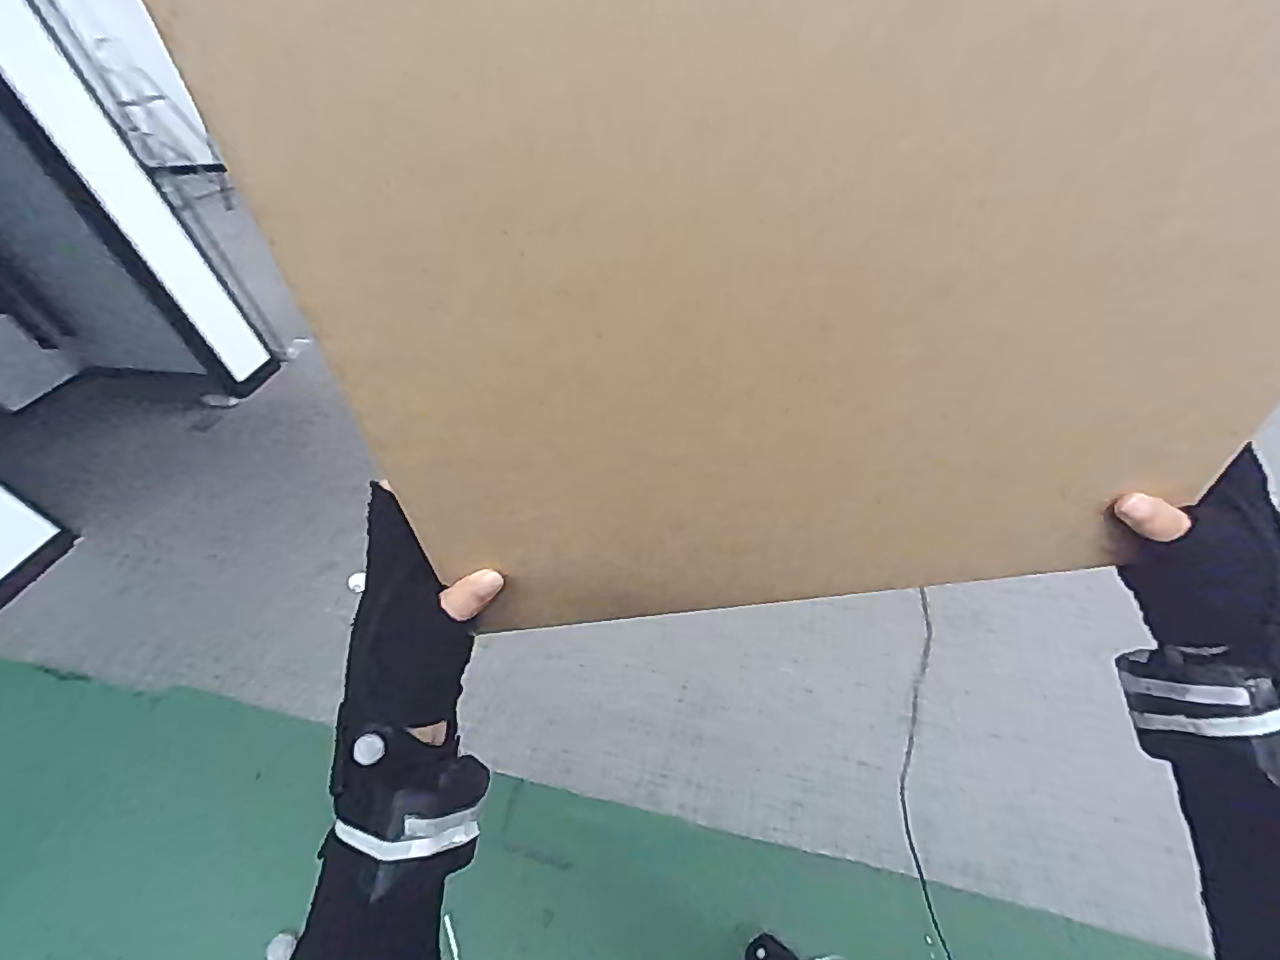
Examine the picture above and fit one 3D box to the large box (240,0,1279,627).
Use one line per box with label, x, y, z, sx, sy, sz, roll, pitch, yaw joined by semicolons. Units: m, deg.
large box;0.085;-0.141;0.333;0.408;0.320;0.320;-5;42;-2
